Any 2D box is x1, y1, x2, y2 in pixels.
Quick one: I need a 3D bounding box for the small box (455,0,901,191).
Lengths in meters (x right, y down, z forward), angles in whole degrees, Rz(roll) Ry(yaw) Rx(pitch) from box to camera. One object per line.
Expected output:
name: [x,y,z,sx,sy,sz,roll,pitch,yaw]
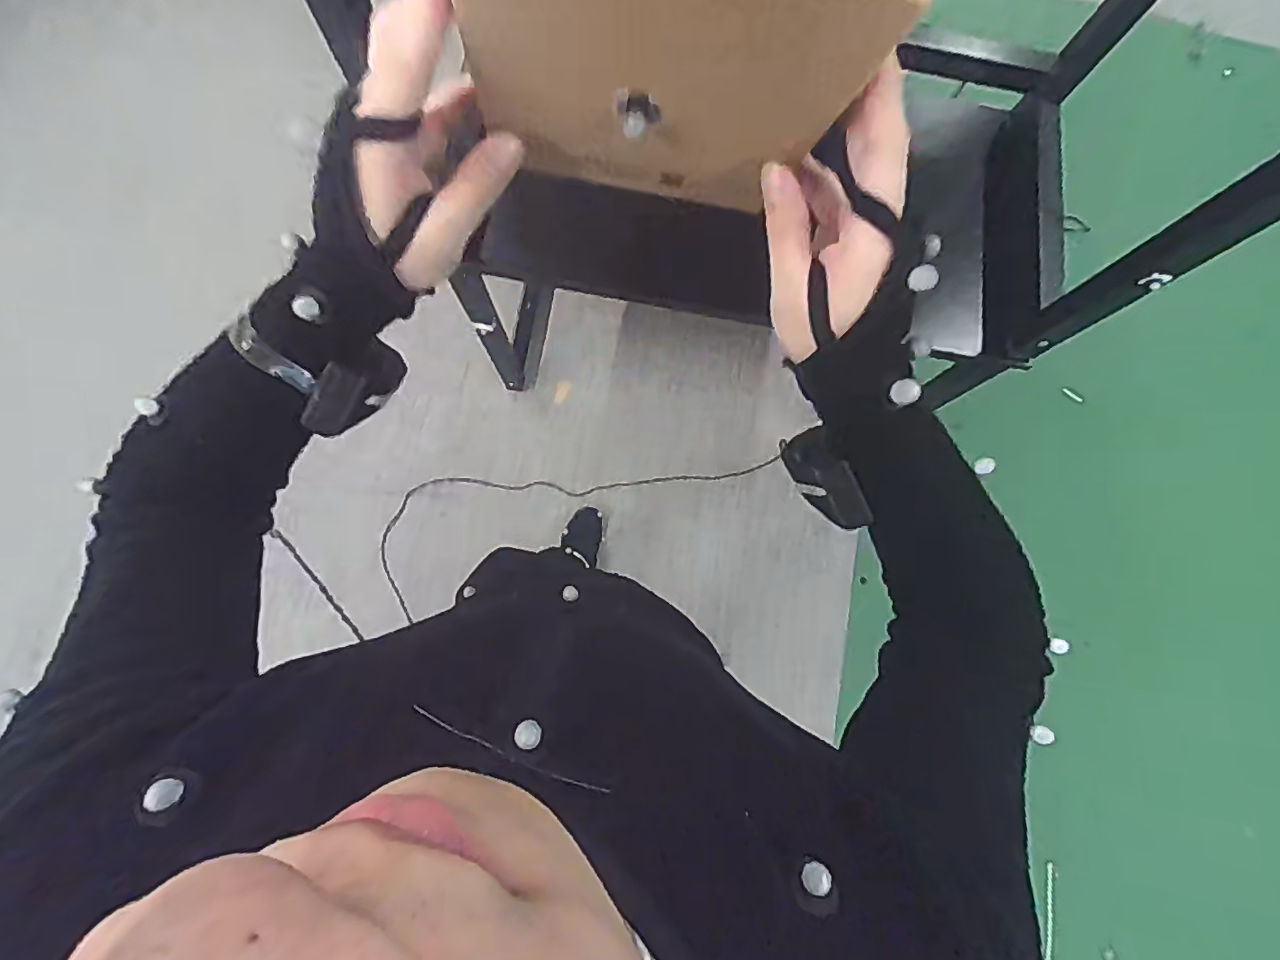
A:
small box: [0.015,-0.261,0.240,0.168,0.176,0.179,8,93,-8]
